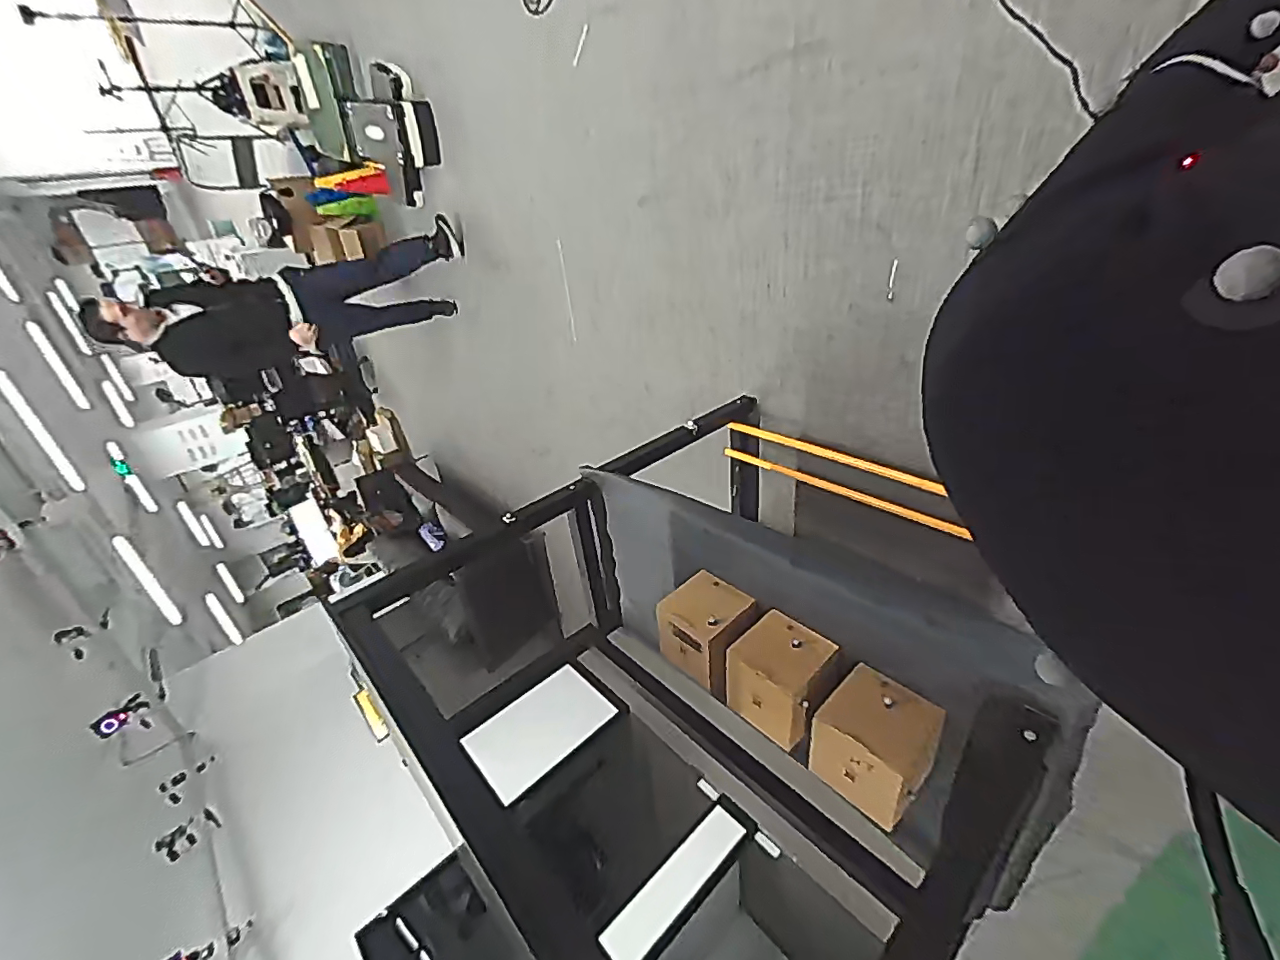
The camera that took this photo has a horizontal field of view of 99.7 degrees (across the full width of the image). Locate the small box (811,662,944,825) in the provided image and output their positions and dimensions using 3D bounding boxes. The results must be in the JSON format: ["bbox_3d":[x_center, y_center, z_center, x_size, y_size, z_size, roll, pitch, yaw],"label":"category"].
[{"bbox_3d":[0.443,0.485,1.014,0.168,0.176,0.179,25,133,42],"label":"small box"}]
